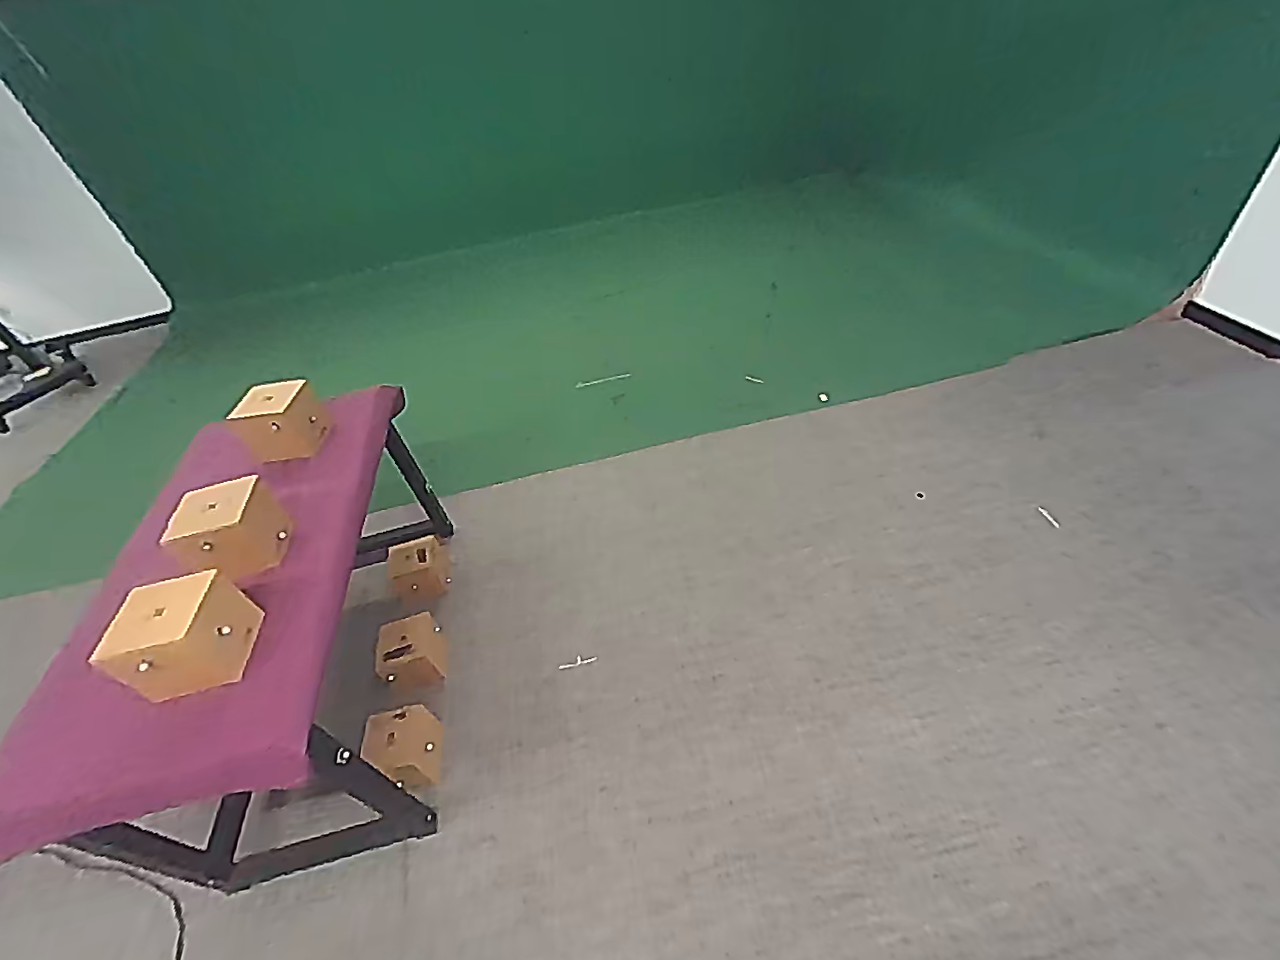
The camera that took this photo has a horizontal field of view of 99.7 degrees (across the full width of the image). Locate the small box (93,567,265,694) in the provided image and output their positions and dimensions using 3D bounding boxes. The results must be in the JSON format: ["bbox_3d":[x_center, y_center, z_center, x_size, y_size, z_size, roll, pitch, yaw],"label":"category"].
[{"bbox_3d":[-0.911,0.306,1.094,0.179,0.176,0.168,-14,43,-1],"label":"small box"}]

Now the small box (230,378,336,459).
[{"bbox_3d":[-1.061,-0.183,1.628,0.179,0.176,0.168,-7,44,5],"label":"small box"}]

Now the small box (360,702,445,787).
[{"bbox_3d":[-0.694,0.789,1.601,0.168,0.176,0.179,-12,44,0],"label":"small box"}]

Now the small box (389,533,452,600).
[{"bbox_3d":[-0.844,0.338,2.098,0.179,0.176,0.168,-17,43,-4],"label":"small box"}]

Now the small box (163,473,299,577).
[{"bbox_3d":[-0.974,0.114,1.306,0.179,0.176,0.168,-15,44,-3],"label":"small box"}]
